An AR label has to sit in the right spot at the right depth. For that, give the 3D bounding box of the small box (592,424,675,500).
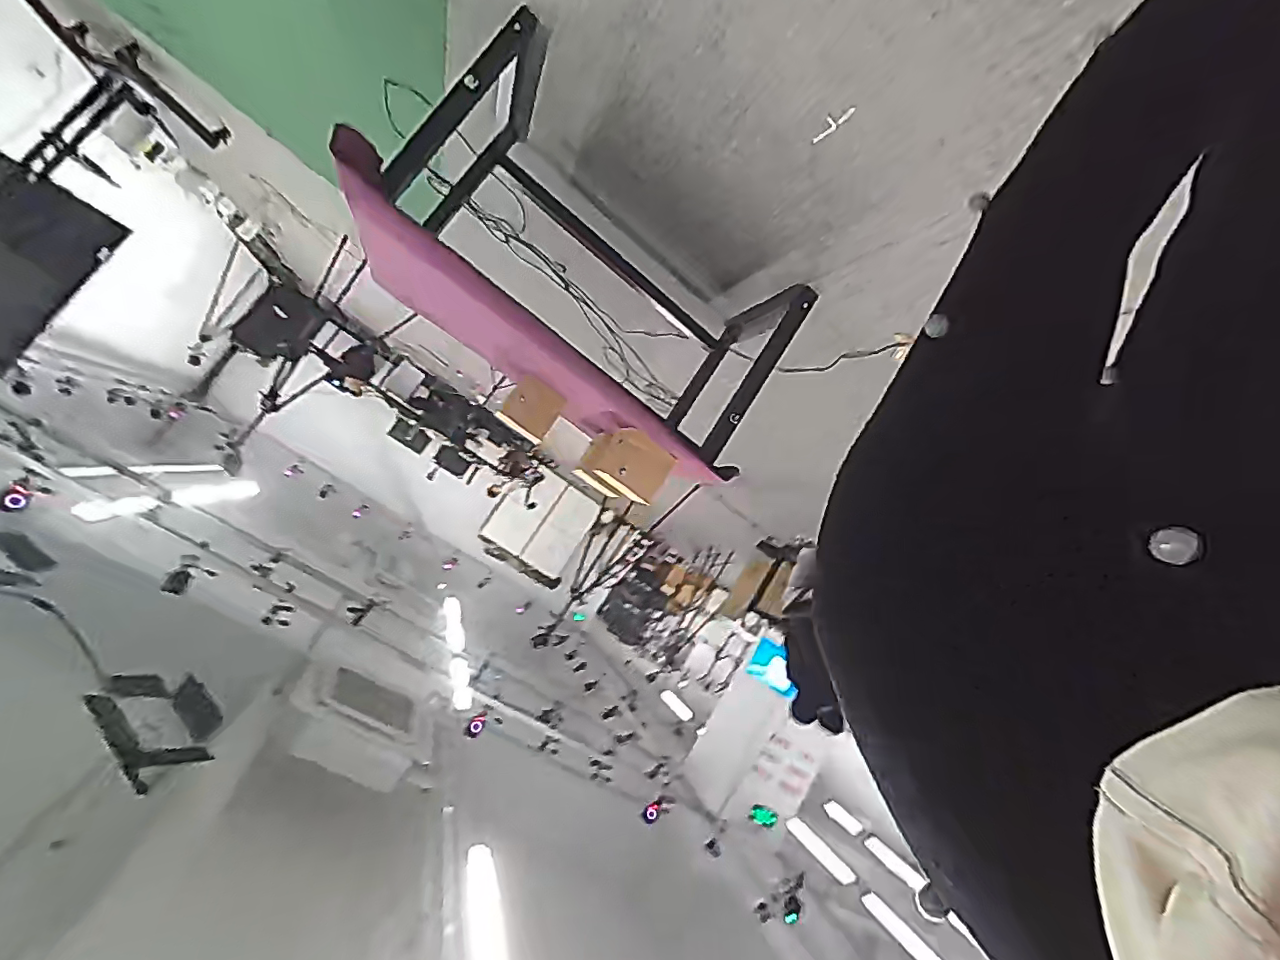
[{"bbox_3d":[-0.018,-0.060,1.695,0.179,0.176,0.168,37,171,-18],"label":"small box"}]

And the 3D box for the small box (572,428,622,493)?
[{"bbox_3d":[-0.119,-0.070,1.967,0.179,0.176,0.168,36,169,-15],"label":"small box"}]

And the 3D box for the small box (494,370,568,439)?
[{"bbox_3d":[-0.377,-0.263,1.867,0.179,0.176,0.168,36,170,-16],"label":"small box"}]
